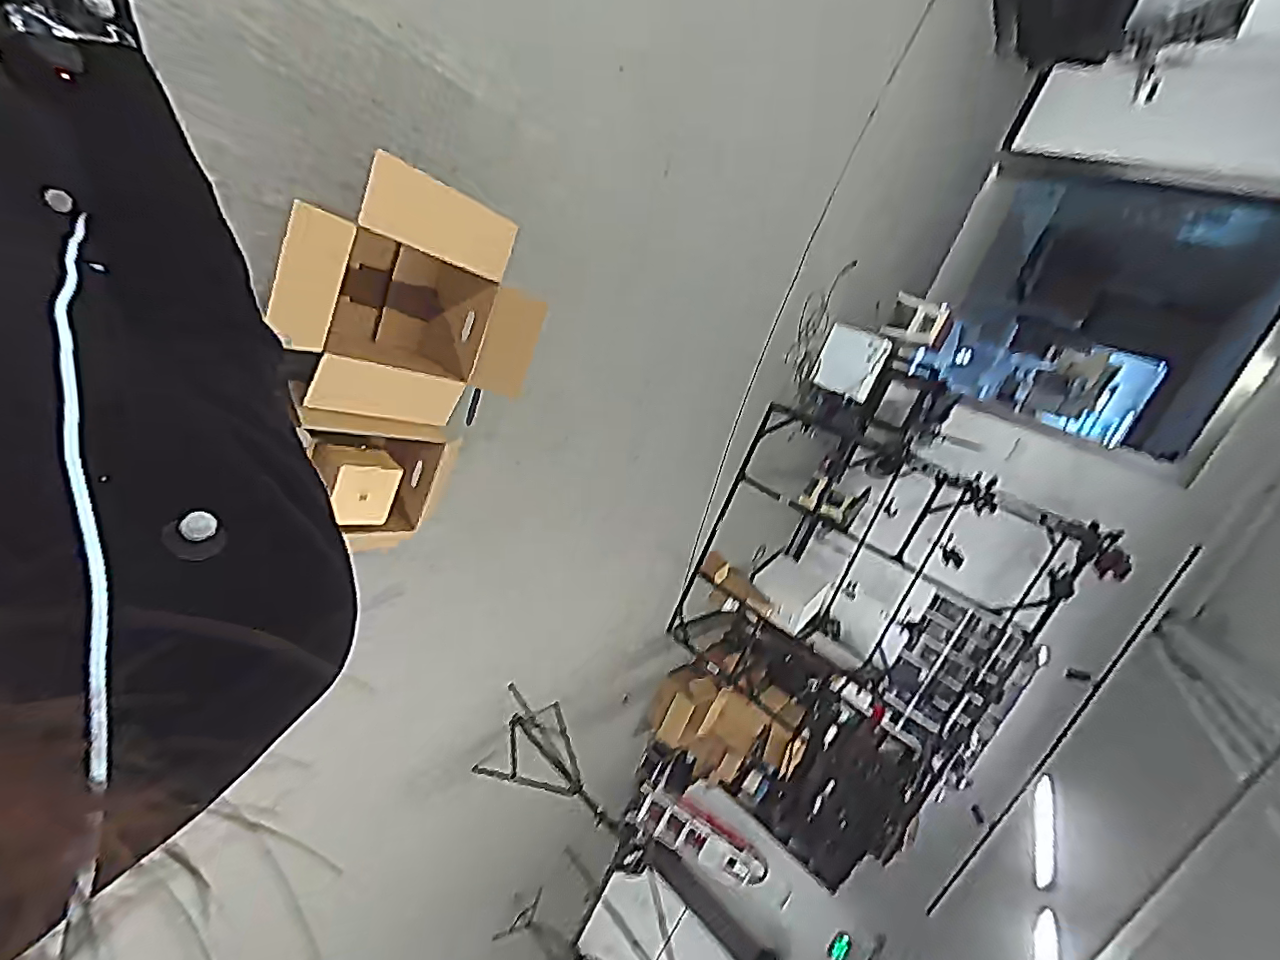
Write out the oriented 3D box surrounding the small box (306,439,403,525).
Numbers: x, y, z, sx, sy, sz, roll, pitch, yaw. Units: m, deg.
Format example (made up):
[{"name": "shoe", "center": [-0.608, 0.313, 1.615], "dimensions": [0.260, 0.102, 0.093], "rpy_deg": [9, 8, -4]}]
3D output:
[{"name": "small box", "center": [-0.790, 0.008, 1.485], "dimensions": [0.168, 0.176, 0.179], "rpy_deg": [6, 112, -53]}]
